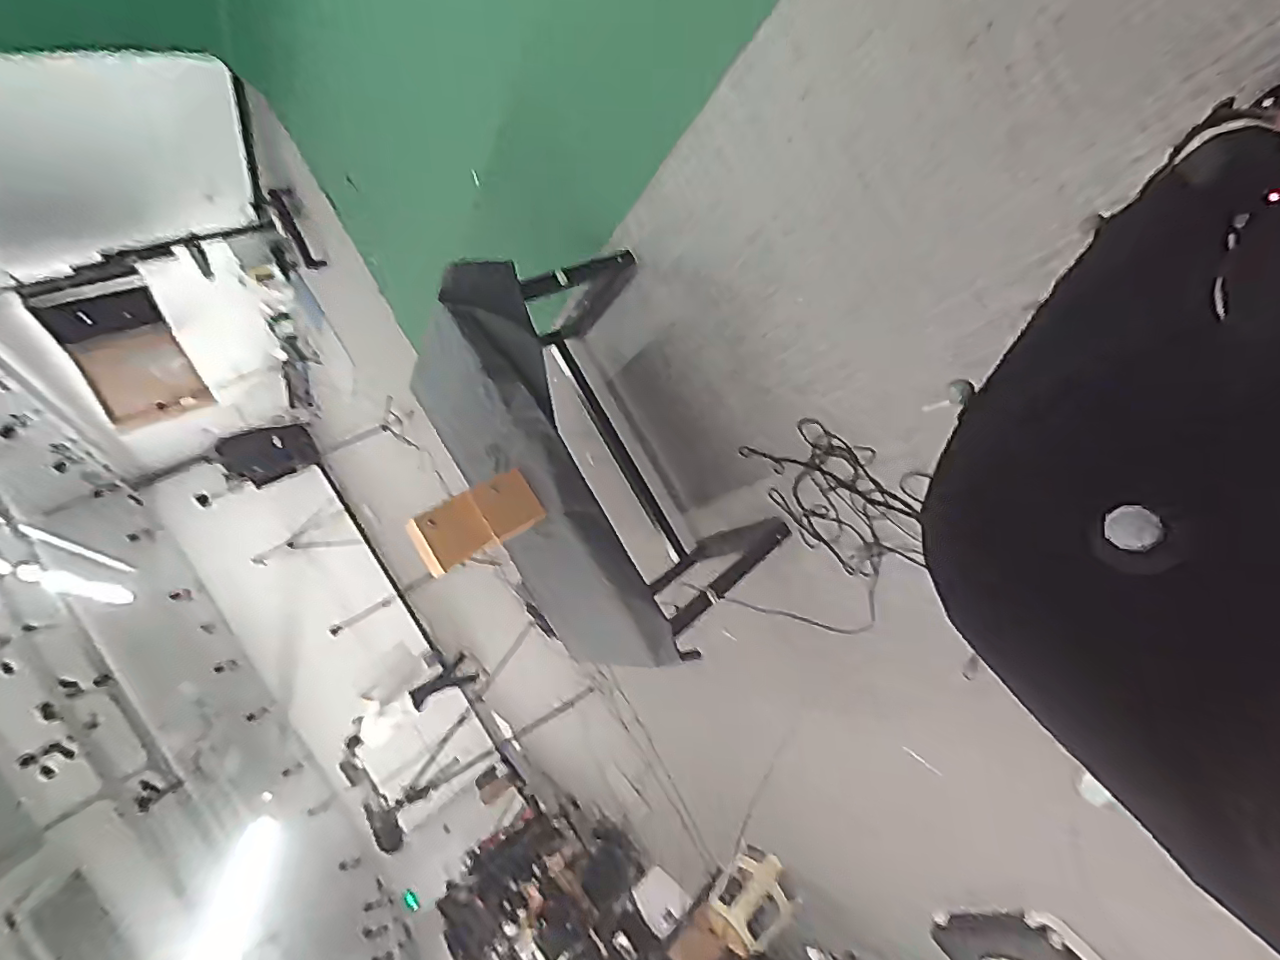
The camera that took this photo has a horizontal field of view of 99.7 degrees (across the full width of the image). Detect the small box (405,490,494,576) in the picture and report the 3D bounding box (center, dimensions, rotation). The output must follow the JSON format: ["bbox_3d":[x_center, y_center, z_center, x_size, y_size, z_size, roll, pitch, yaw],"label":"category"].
[{"bbox_3d":[-0.547,0.154,1.558,0.179,0.176,0.168,60,148,-1],"label":"small box"}]
